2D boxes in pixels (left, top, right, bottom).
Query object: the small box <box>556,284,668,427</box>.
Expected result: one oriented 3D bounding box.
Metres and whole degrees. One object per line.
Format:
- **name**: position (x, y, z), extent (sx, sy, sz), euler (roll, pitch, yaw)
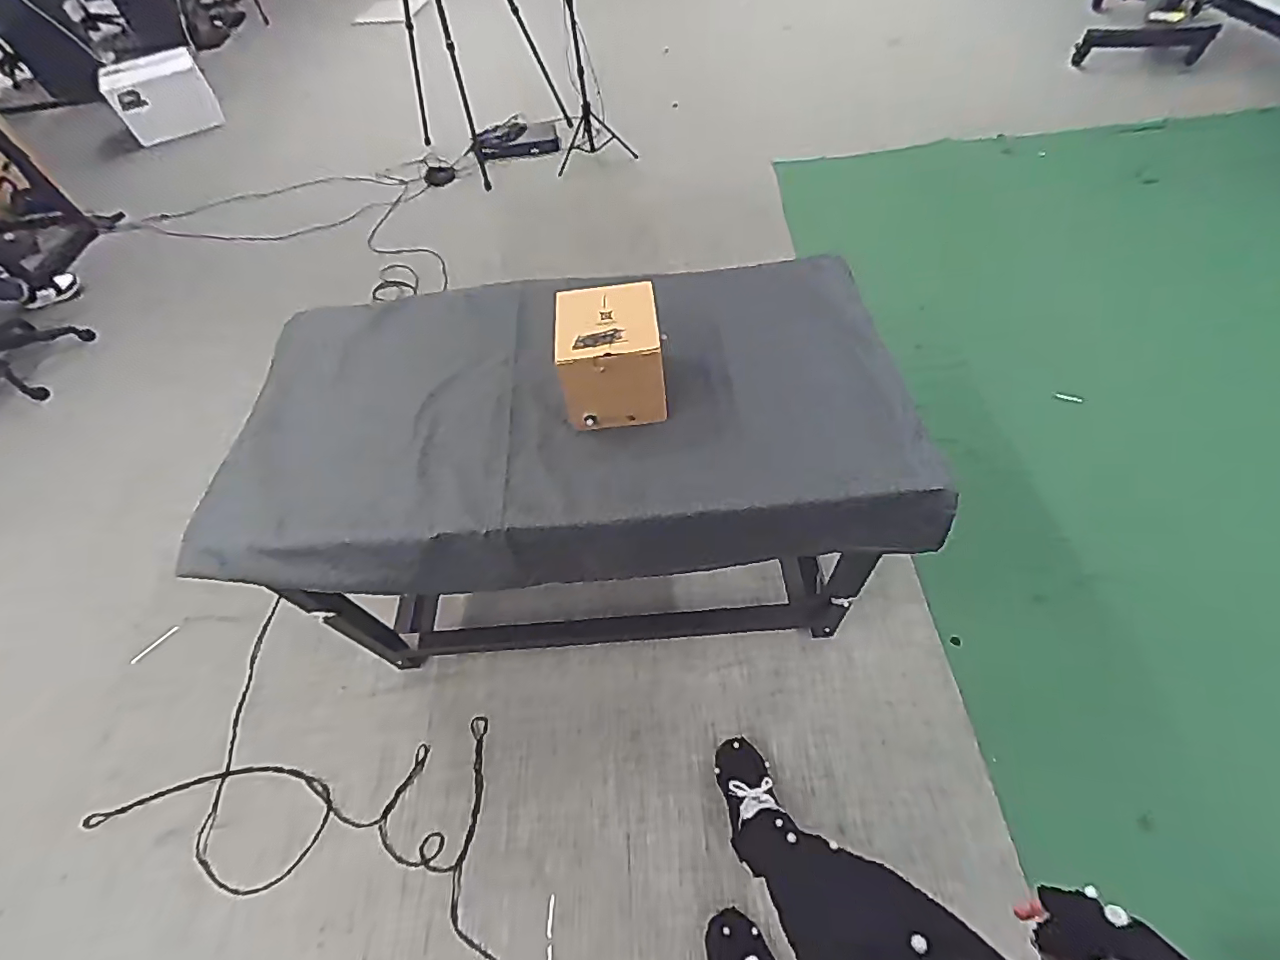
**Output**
- **small box**: position (-0.043, -0.206, 0.933), extent (0.168, 0.176, 0.179), euler (-6, 54, 2)
